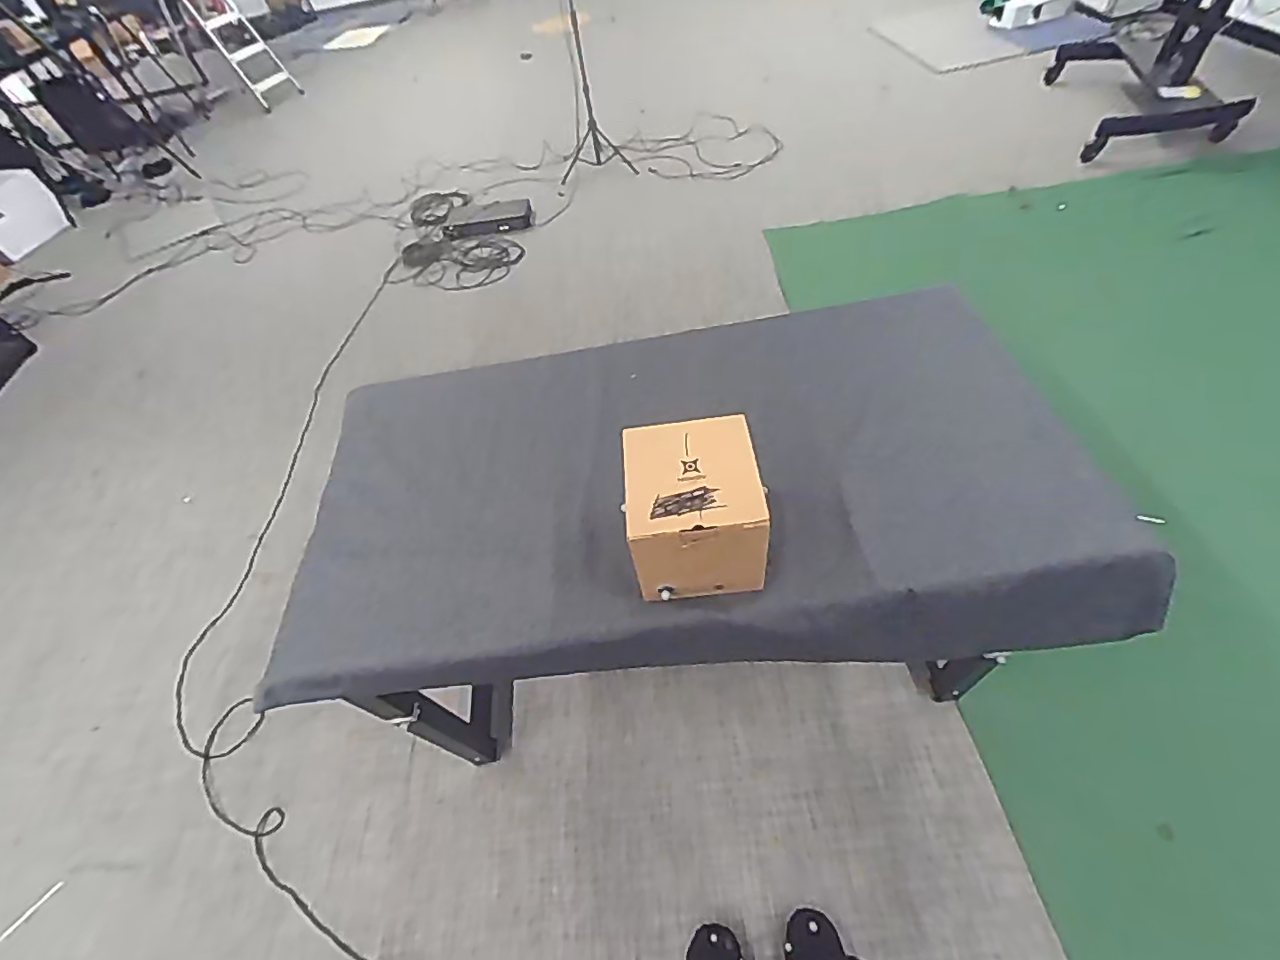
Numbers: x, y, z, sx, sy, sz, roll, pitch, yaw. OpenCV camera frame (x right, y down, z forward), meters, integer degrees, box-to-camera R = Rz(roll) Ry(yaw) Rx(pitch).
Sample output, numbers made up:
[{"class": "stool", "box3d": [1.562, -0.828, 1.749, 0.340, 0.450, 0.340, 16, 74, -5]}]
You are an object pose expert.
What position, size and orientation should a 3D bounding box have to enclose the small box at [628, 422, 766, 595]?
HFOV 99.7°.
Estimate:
[{"class": "small box", "box3d": [0.075, 0.046, 0.741, 0.168, 0.176, 0.179, -5, 51, 4]}]
